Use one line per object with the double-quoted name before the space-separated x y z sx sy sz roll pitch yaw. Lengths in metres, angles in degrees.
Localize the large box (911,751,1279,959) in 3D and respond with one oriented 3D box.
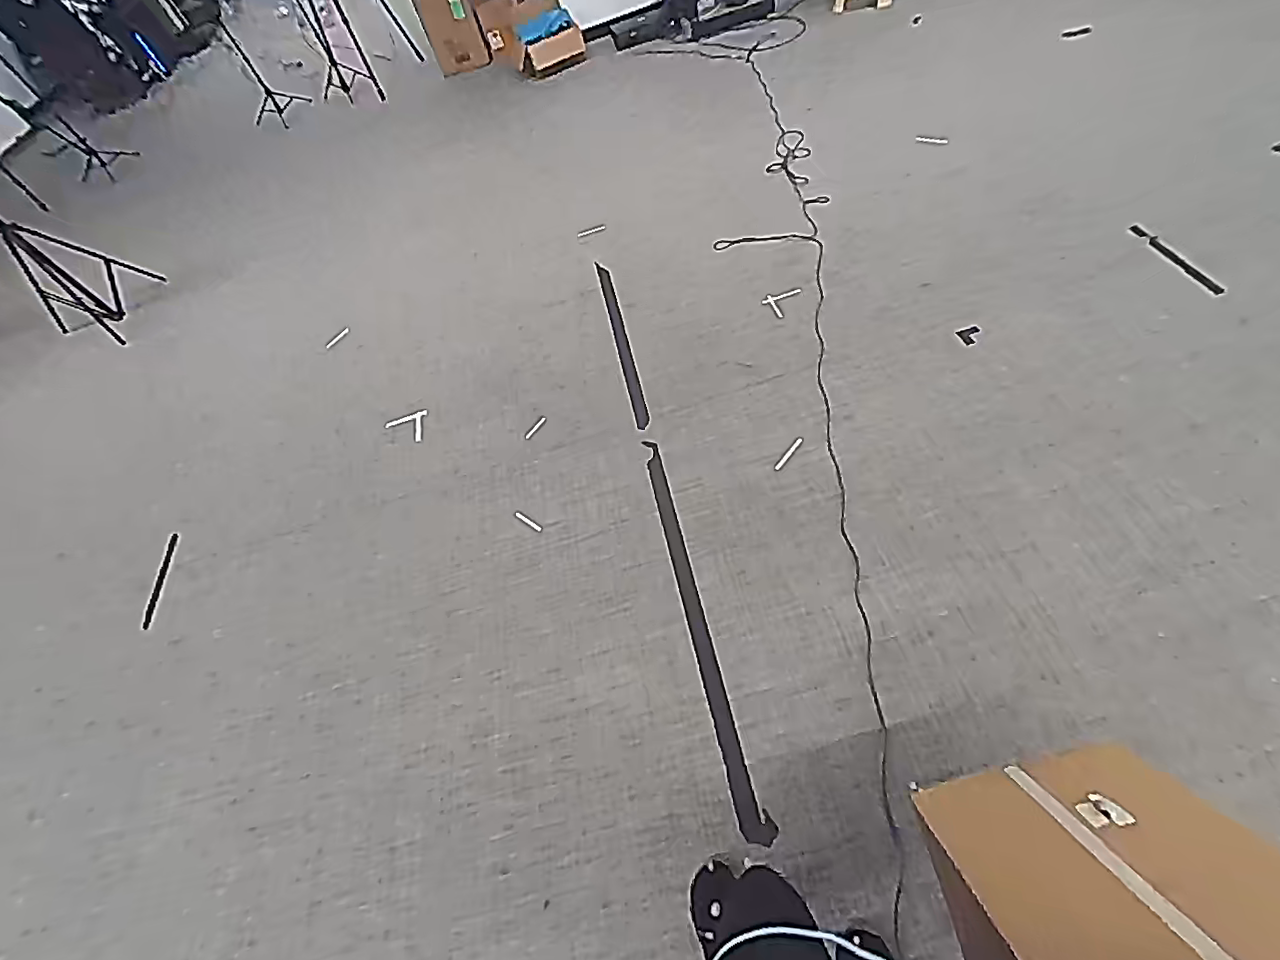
"large box" 0.601 0.601 0.637 0.320 0.408 0.320 -17 88 5
